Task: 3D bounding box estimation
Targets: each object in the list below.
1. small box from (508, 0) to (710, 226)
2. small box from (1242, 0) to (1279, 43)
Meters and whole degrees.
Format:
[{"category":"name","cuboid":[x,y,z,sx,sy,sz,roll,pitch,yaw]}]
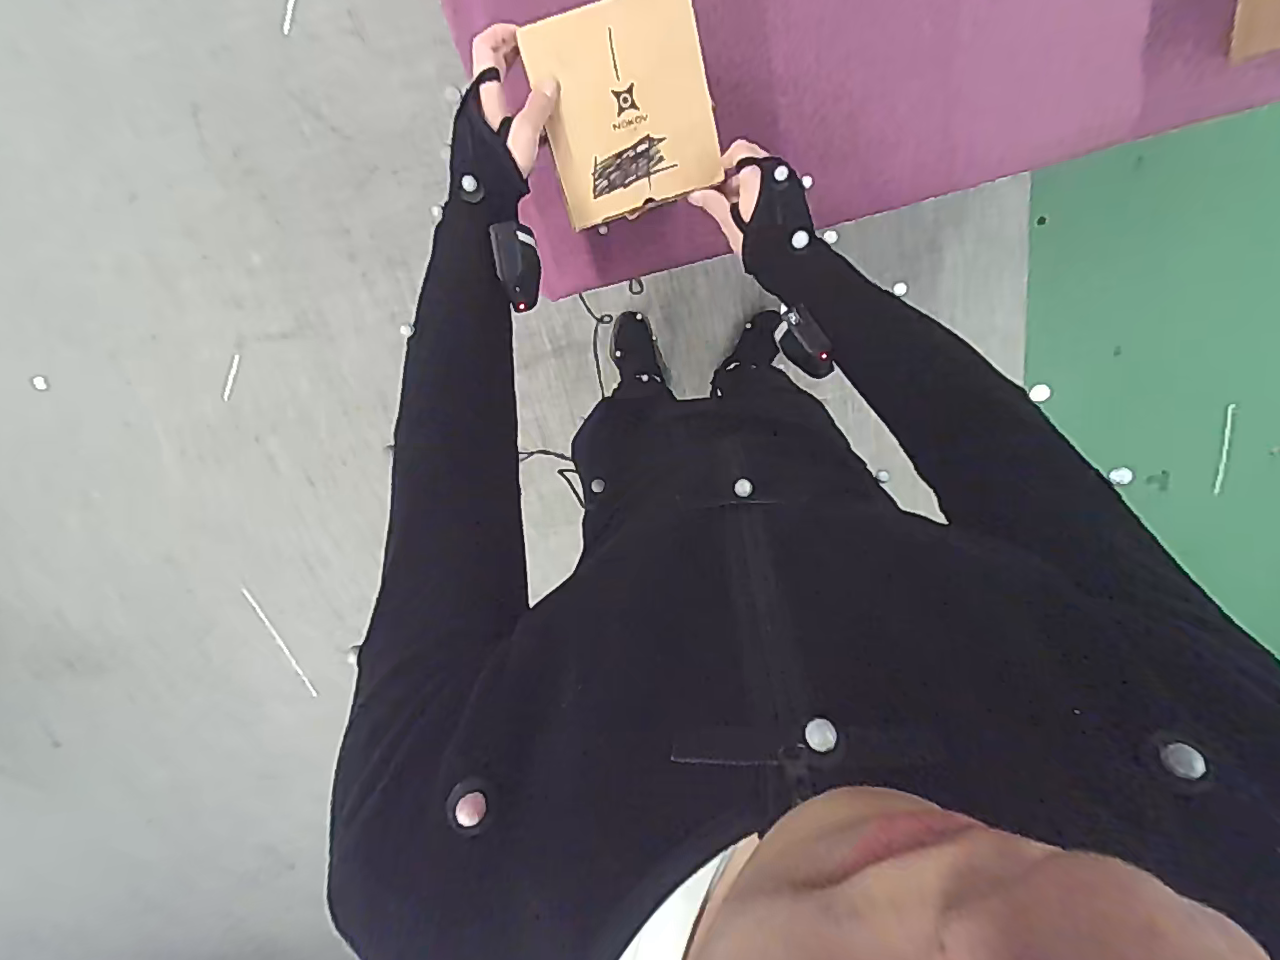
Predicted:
[{"category":"small box","cuboid":[-0.029,-0.405,0.609,0.168,0.176,0.179,-16,116,4]},{"category":"small box","cuboid":[0.822,-0.621,0.580,0.168,0.176,0.179,-14,113,5]}]
